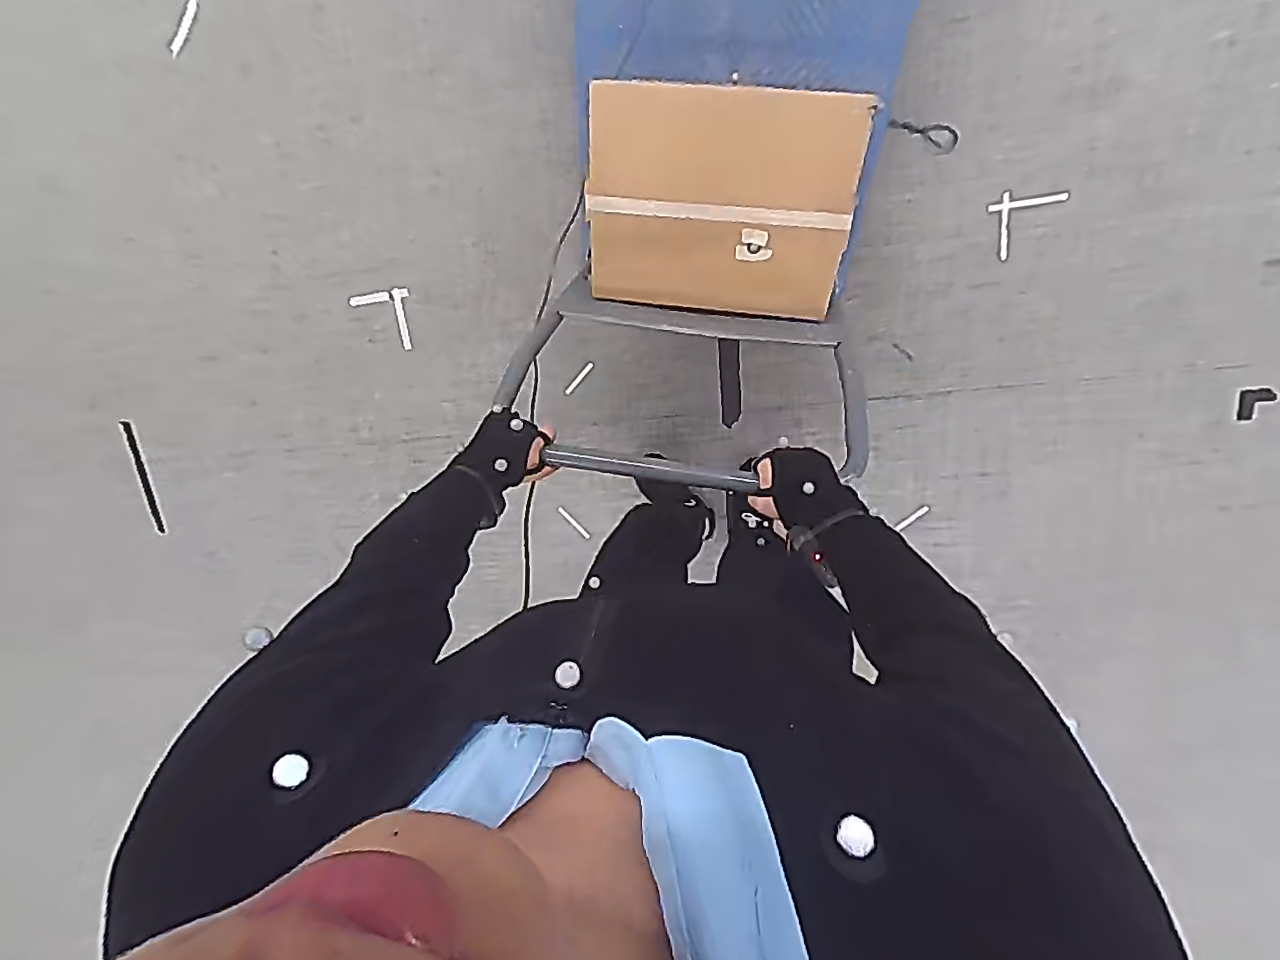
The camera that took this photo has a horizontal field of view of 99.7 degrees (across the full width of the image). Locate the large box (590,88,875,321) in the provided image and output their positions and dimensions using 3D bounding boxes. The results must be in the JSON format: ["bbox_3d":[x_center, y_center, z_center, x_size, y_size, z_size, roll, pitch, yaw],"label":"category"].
[{"bbox_3d":[0.142,-0.498,0.960,0.408,0.320,0.320,8,128,6],"label":"large box"}]
